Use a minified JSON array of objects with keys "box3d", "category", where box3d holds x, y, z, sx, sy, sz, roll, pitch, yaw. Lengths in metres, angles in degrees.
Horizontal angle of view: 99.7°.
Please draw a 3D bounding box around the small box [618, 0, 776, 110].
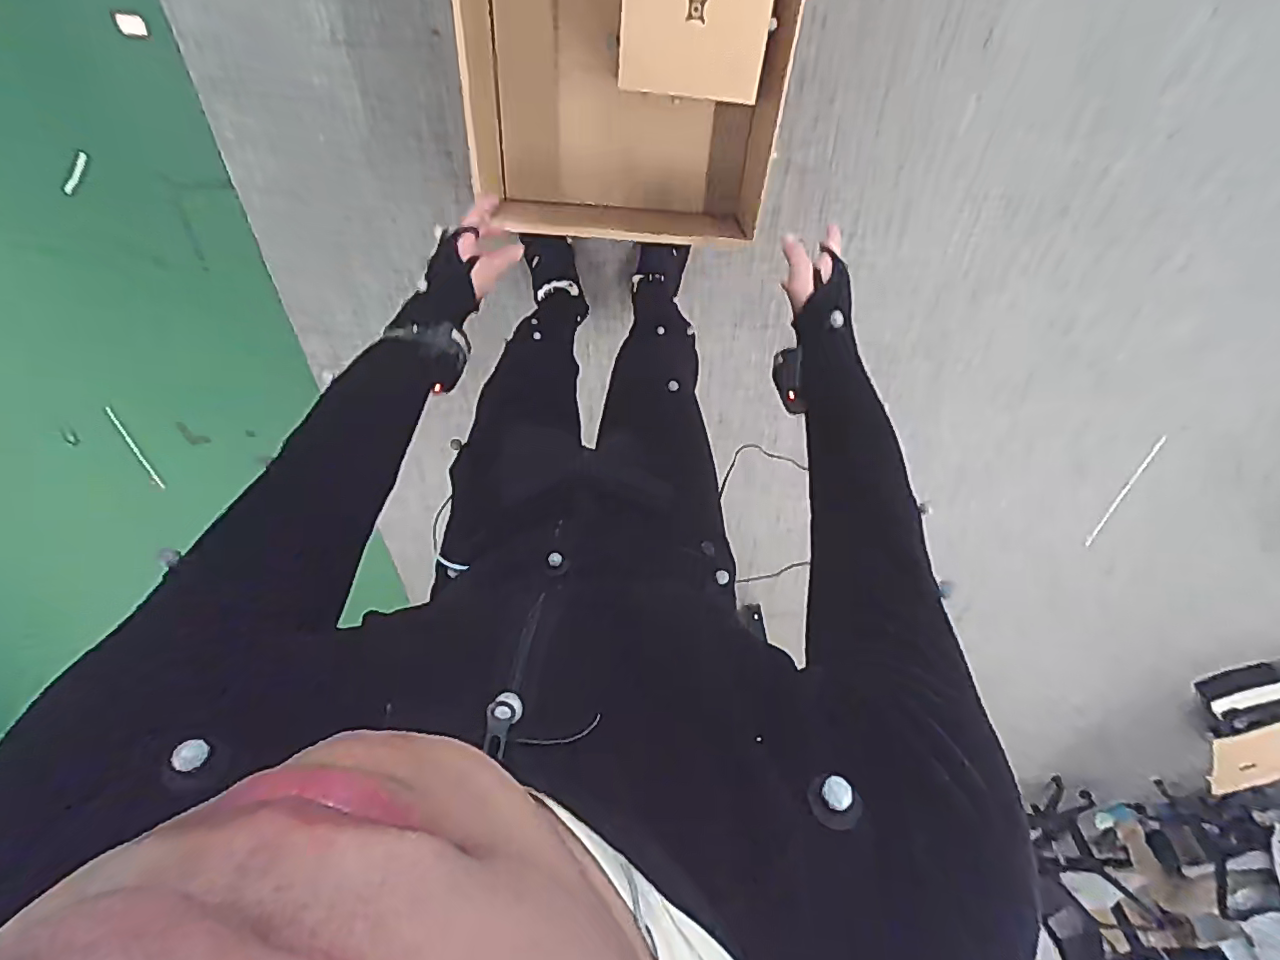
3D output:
[{"box3d":[0.064,-0.561,0.641,0.168,0.176,0.179,4,129,-5],"category":"small box"}]
